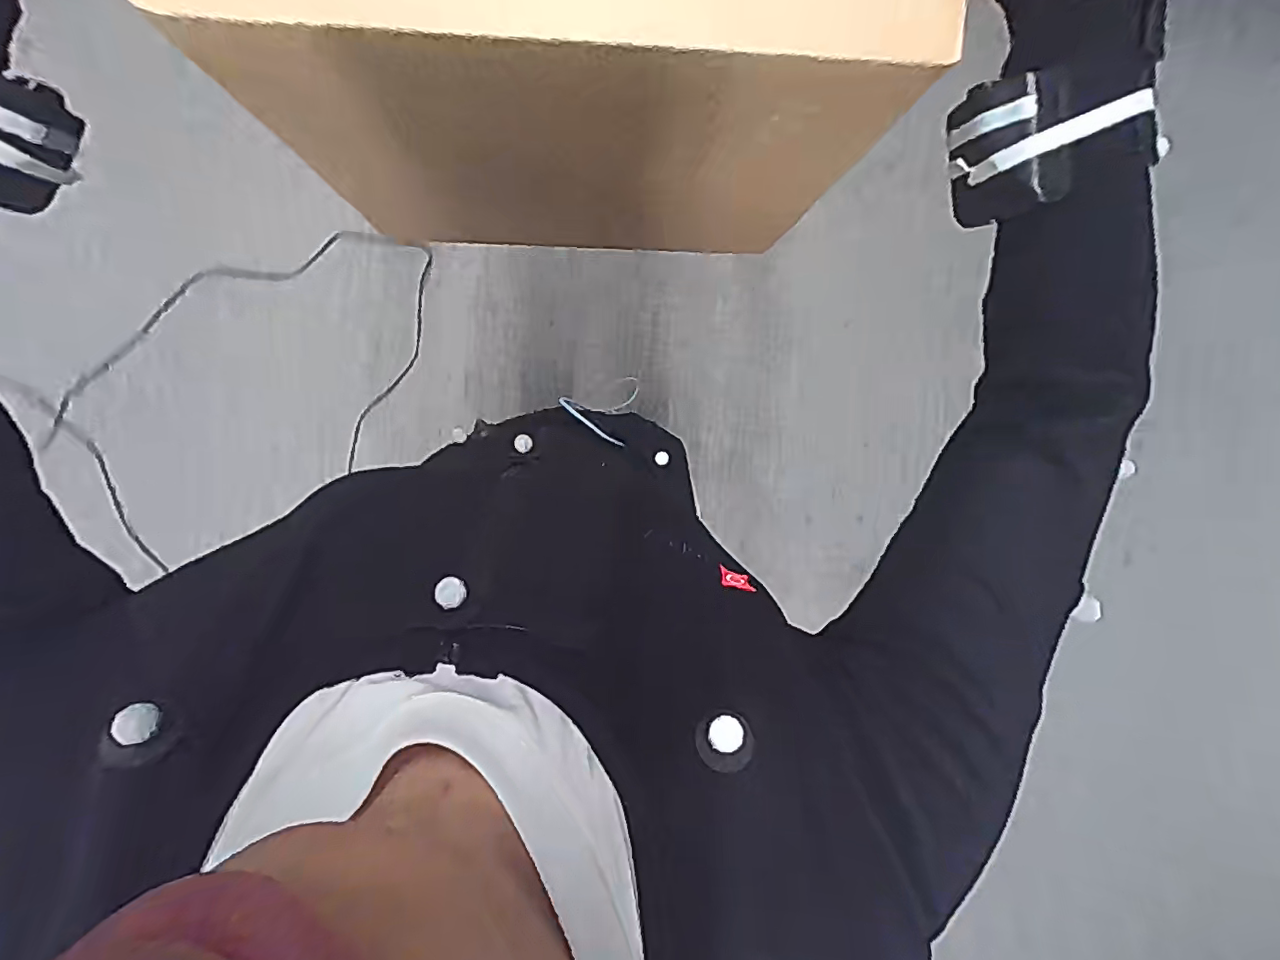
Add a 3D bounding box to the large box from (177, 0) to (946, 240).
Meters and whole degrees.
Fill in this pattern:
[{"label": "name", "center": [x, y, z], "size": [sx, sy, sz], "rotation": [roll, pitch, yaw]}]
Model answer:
[{"label": "large box", "center": [-0.049, -0.394, 0.413], "size": [0.408, 0.320, 0.320], "rotation": [-1, 96, -6]}]
